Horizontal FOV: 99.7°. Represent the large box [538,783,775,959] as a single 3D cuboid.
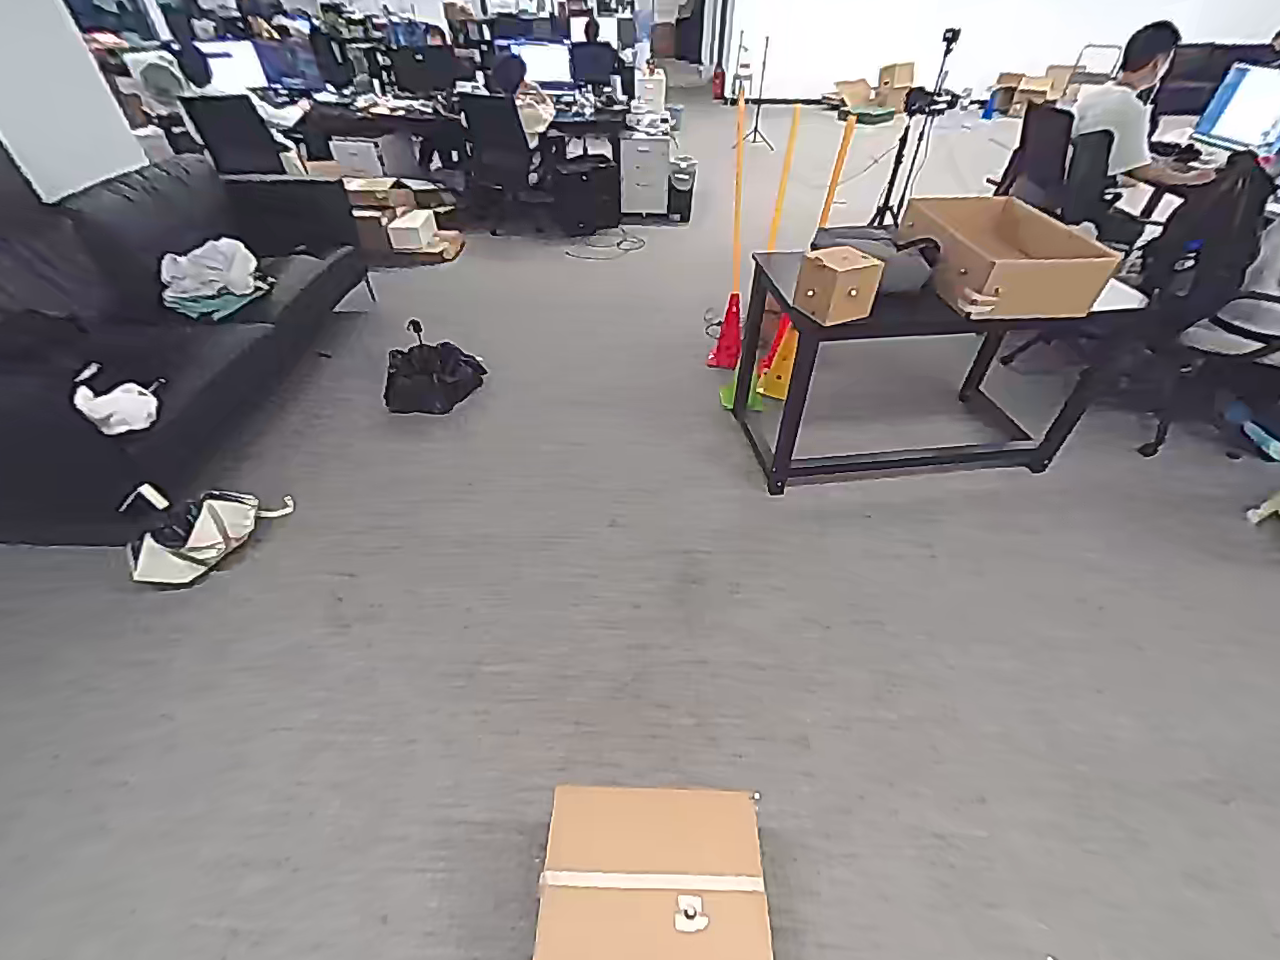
[{"bbox_3d":[0.028,0.835,1.088,0.408,0.320,0.320,1,43,1],"label":"large box"}]
